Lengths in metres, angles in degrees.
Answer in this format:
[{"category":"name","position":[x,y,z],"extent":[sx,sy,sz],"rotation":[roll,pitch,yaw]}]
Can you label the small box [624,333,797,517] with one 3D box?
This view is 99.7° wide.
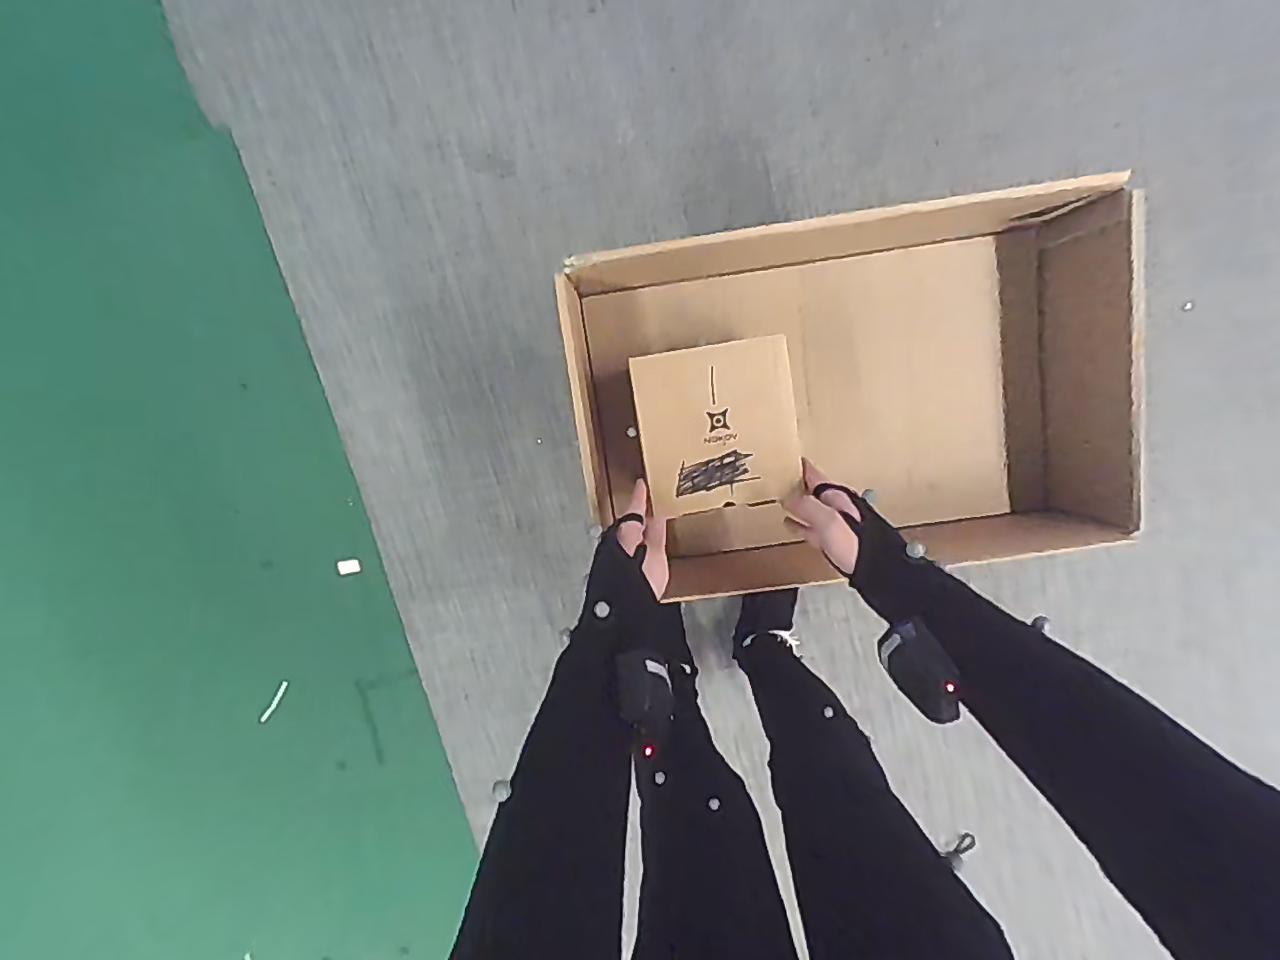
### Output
[{"category":"small box","position":[0.080,-0.069,0.649],"extent":[0.168,0.176,0.179],"rotation":[-9,99,3]}]
